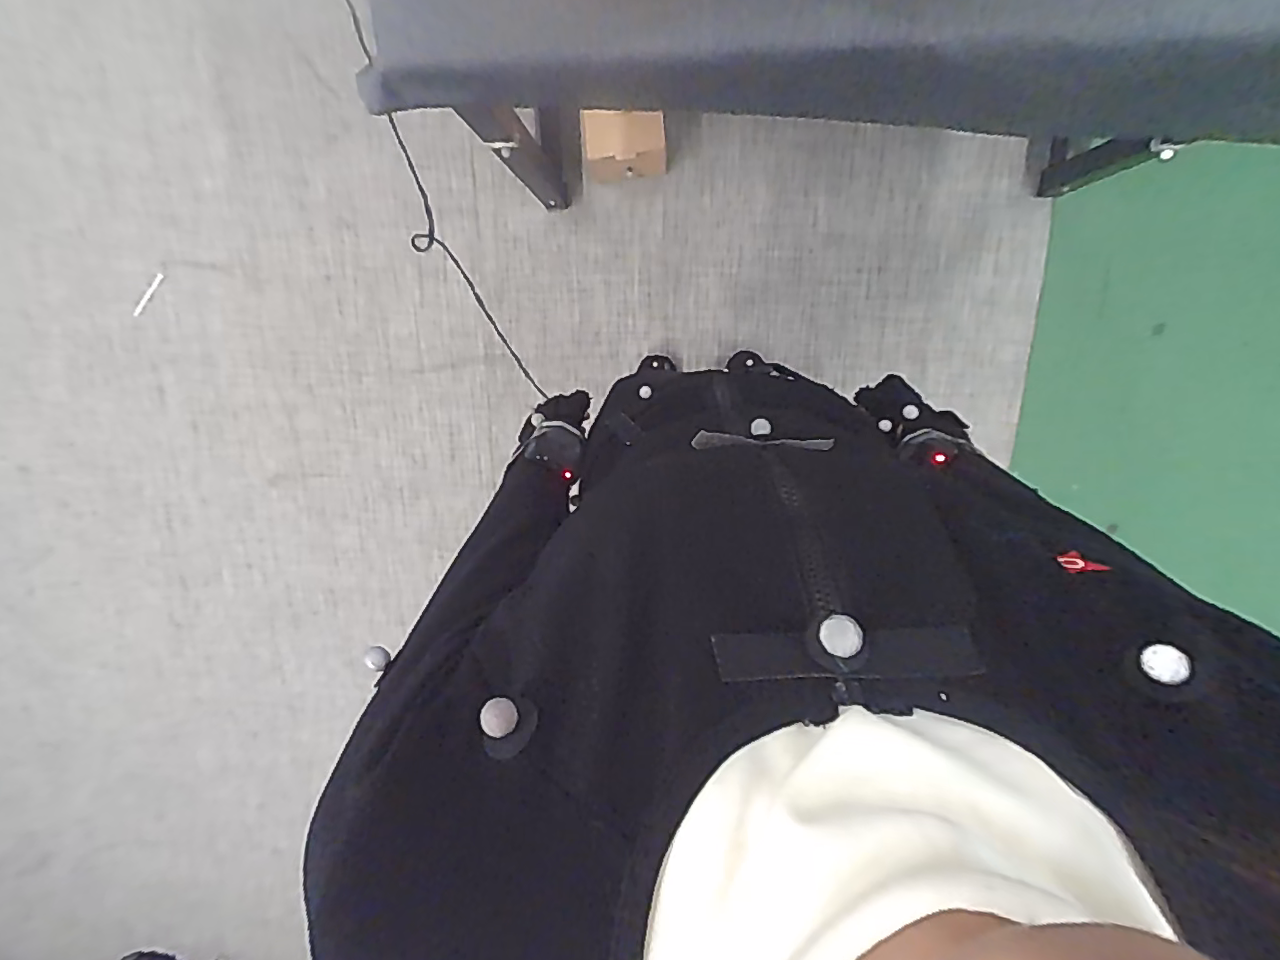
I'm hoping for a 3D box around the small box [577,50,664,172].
[{"bbox_3d":[-0.035,-0.786,1.174,0.168,0.176,0.179,-4,105,3],"label":"small box"}]
